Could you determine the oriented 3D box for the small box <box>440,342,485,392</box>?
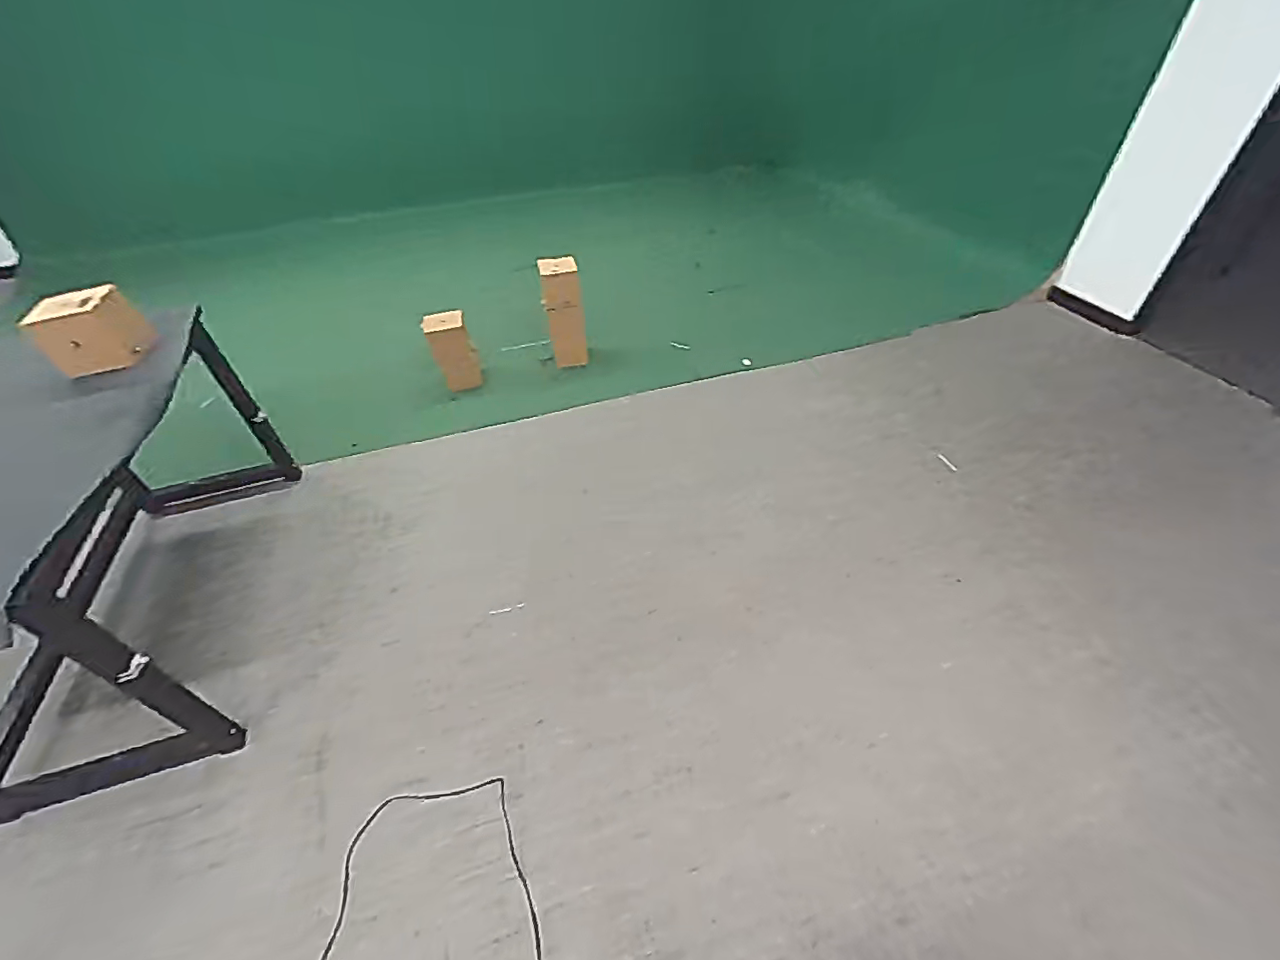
[{"bbox_3d":[-0.880,-0.556,2.671,0.179,0.176,0.168,-14,46,-11],"label":"small box"}]

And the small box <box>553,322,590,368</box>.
[{"bbox_3d":[-0.353,-0.689,2.781,0.168,0.176,0.179,-8,44,-5],"label":"small box"}]

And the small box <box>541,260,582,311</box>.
[{"bbox_3d":[-0.370,-0.917,2.545,0.168,0.176,0.179,-10,44,-9],"label":"small box"}]

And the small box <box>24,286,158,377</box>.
[{"bbox_3d":[-1.513,-0.412,1.508,0.179,0.176,0.168,-16,46,-8],"label":"small box"}]

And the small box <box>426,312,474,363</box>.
[{"bbox_3d":[-0.898,-0.669,2.556,0.179,0.176,0.168,-12,46,-10],"label":"small box"}]
